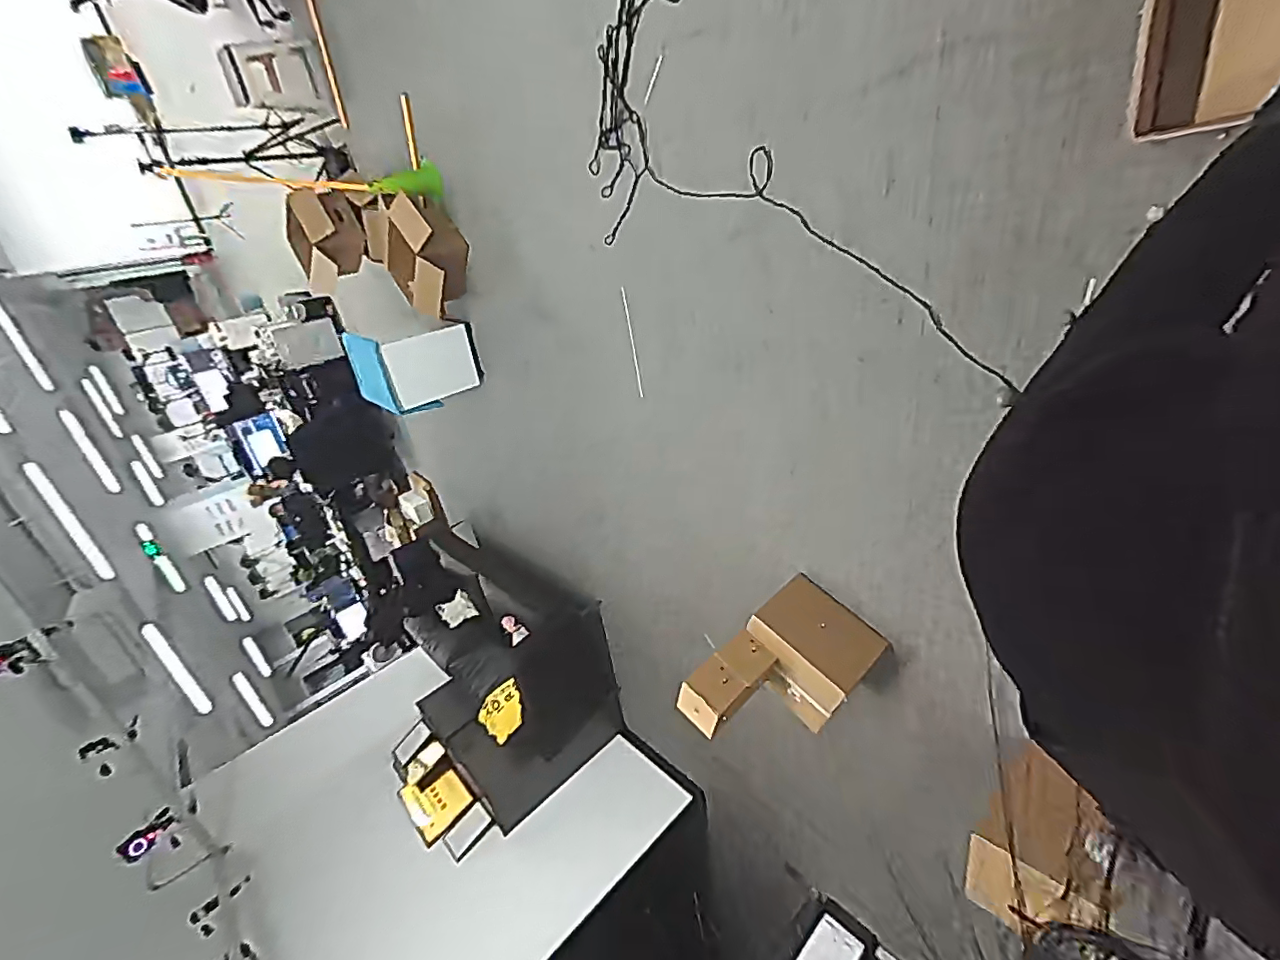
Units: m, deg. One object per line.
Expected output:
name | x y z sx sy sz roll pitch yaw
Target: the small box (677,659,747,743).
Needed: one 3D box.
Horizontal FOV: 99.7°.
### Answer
small box | 0.254 0.774 1.903 0.168 0.176 0.179 37 138 32
